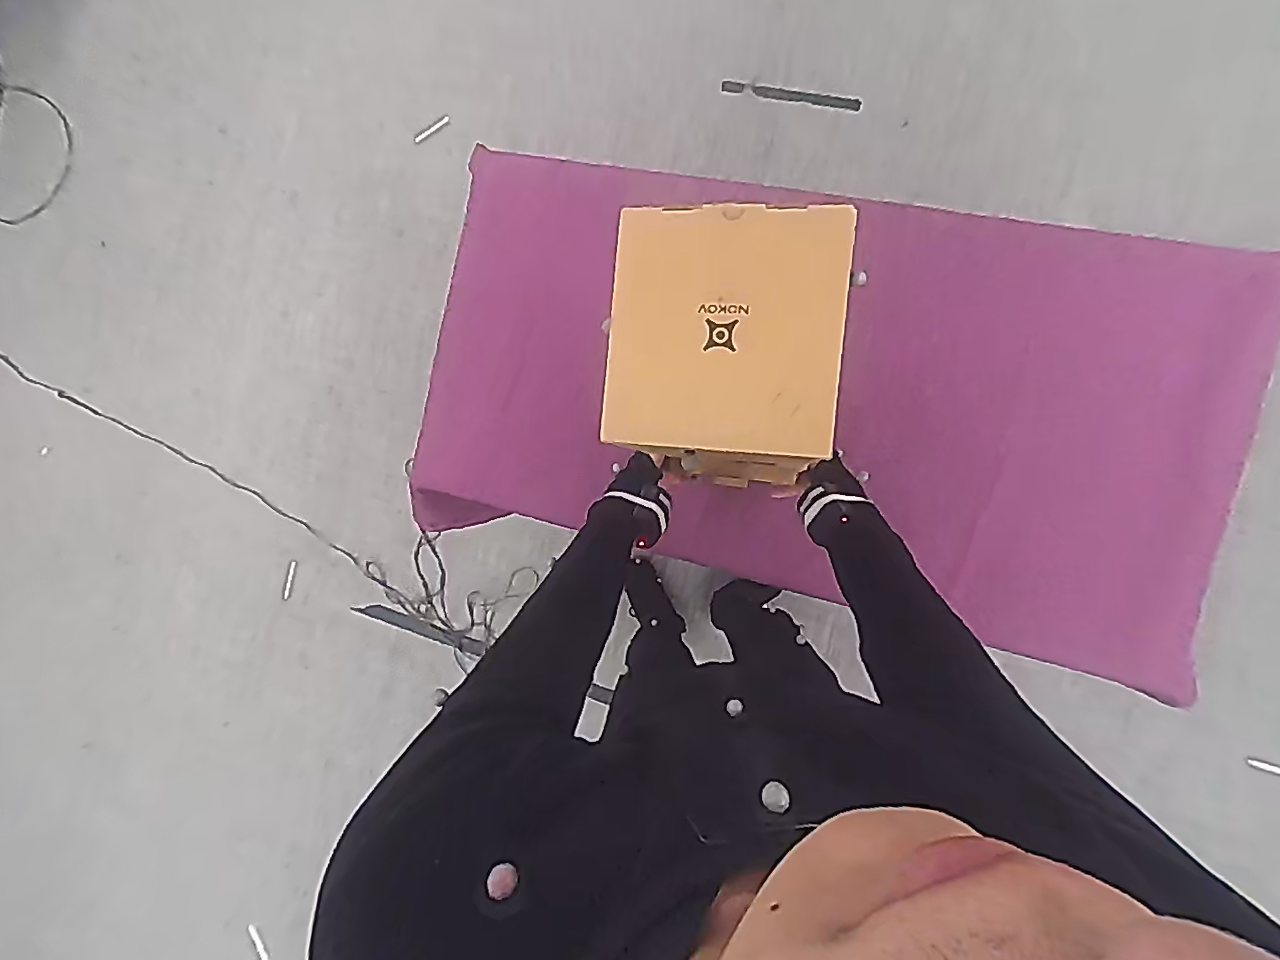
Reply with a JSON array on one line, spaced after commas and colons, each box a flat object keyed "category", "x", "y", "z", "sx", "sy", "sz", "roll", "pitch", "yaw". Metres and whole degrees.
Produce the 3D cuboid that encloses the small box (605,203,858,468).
[{"category": "small box", "x": 0.077, "y": -0.104, "z": 0.457, "sx": 0.168, "sy": 0.176, "sz": 0.179, "roll": 5, "pitch": 89, "yaw": 12}]
